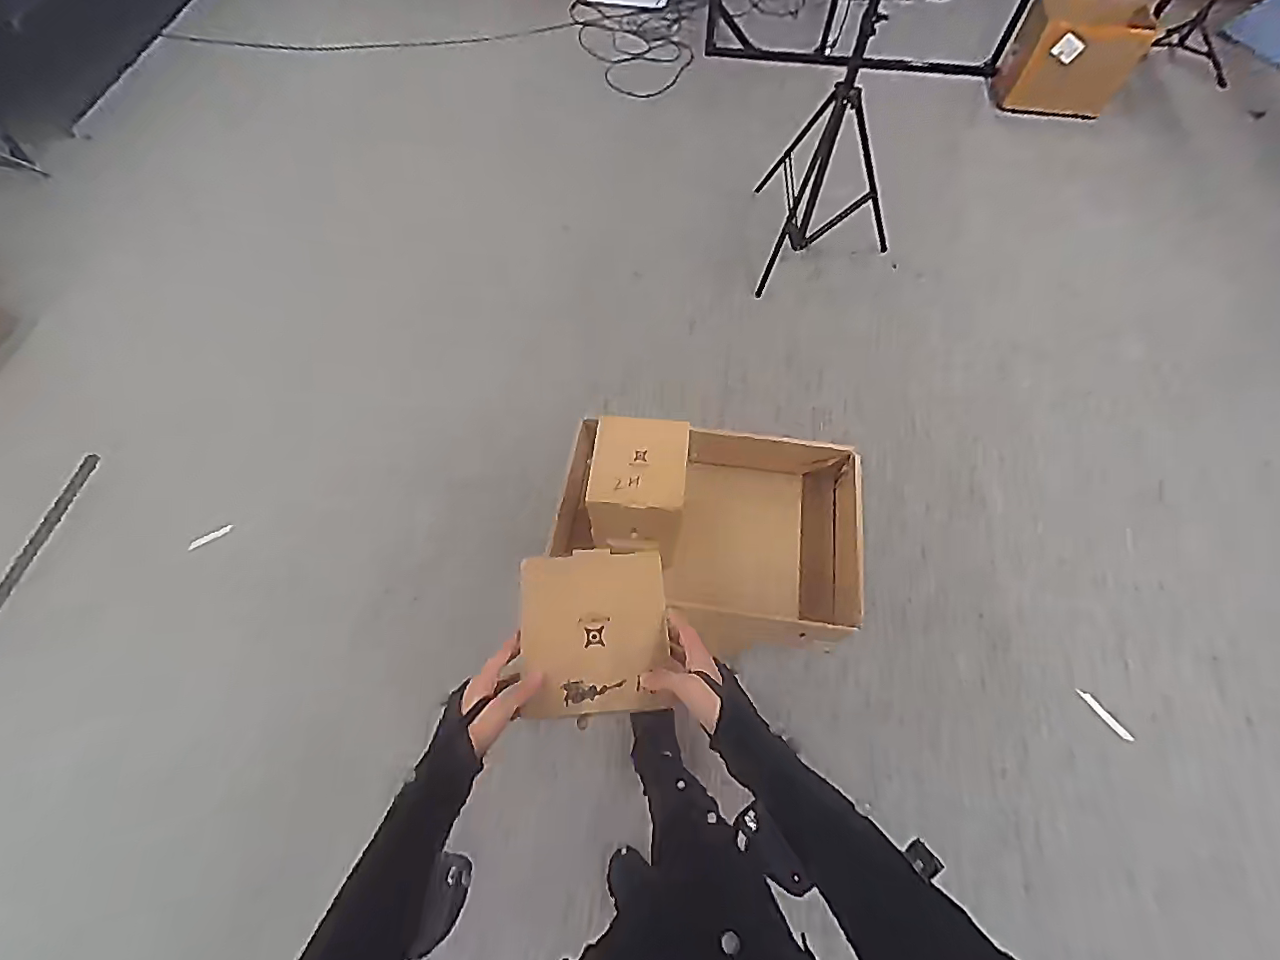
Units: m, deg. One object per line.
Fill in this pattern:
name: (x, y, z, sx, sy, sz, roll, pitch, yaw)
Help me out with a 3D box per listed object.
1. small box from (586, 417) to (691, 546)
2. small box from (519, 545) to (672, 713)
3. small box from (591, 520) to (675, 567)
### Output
small box: (0.001, 0.006, 1.004, 0.168, 0.176, 0.179, 5, 64, 4)
small box: (-0.057, 0.191, 0.677, 0.168, 0.176, 0.179, -2, 66, -5)
small box: (-0.002, 0.075, 1.154, 0.168, 0.176, 0.179, 6, 63, 5)
